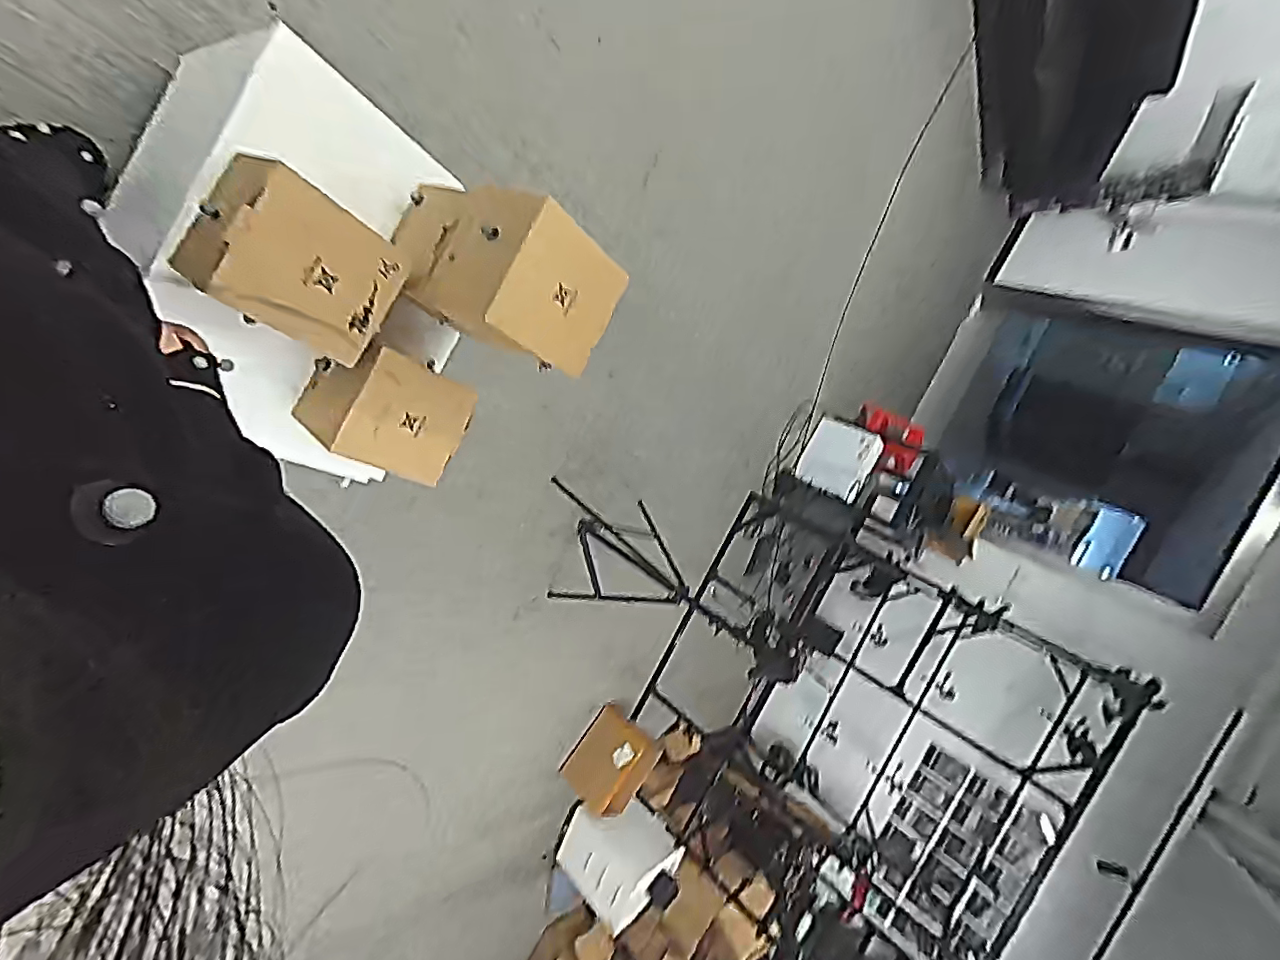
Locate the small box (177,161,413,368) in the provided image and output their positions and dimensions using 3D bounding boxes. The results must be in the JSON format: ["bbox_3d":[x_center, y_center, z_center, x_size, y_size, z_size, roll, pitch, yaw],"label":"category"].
[{"bbox_3d":[-0.437,-0.271,0.686,0.168,0.176,0.179,-60,144,-2],"label":"small box"}]

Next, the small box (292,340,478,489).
[{"bbox_3d":[-0.397,-0.110,0.846,0.179,0.176,0.168,29,88,-53],"label":"small box"}]

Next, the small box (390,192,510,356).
[{"bbox_3d":[-0.275,-0.323,0.846,0.179,0.176,0.168,30,90,-54],"label":"small box"}]

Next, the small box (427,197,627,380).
[{"bbox_3d":[-0.158,-0.266,0.750,0.179,0.176,0.168,25,94,-54],"label":"small box"}]
